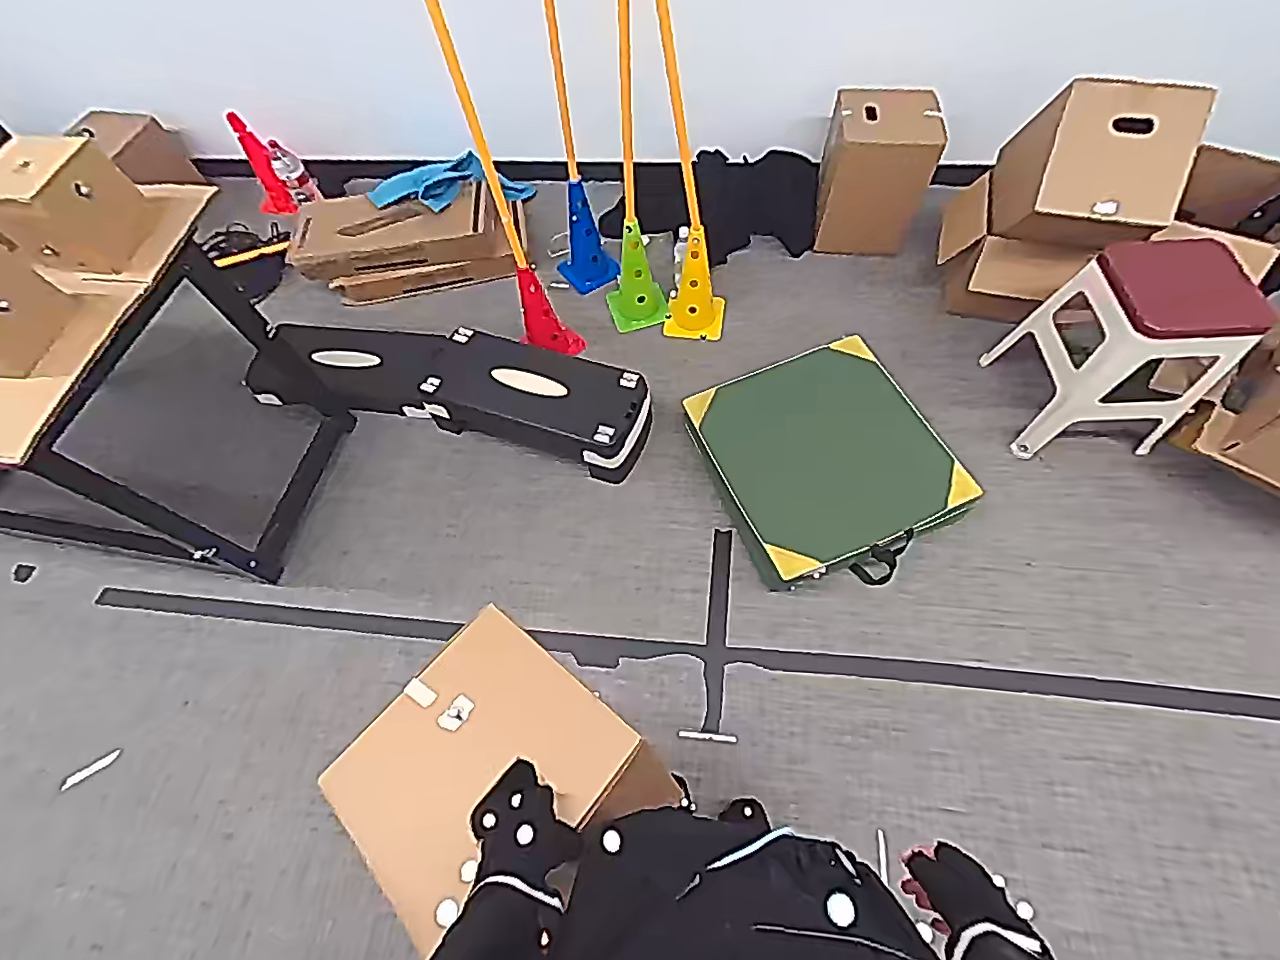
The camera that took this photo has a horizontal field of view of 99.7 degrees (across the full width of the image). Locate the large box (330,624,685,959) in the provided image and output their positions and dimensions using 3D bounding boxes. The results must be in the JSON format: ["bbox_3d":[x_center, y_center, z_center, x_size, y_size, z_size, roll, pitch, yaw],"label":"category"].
[{"bbox_3d":[-0.165,0.490,0.833,0.320,0.408,0.320,30,64,31],"label":"large box"}]
